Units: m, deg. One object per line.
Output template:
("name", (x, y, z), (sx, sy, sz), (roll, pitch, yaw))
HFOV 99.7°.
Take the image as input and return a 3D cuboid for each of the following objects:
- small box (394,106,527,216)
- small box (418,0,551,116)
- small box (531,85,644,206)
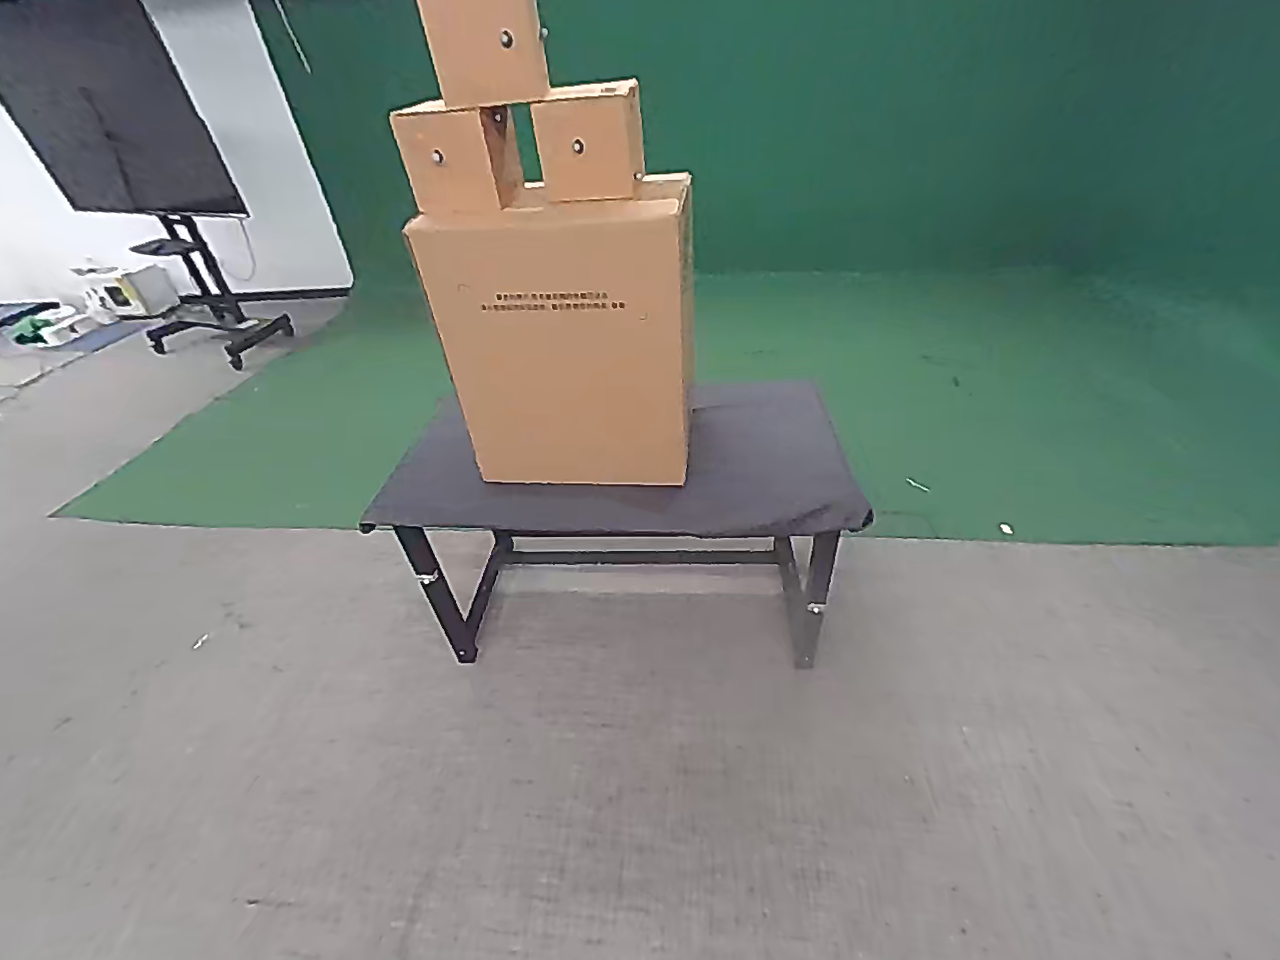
("small box", (-0.347, -0.640, 1.082), (0.179, 0.176, 0.168), (2, 43, 9))
("small box", (-0.263, -0.765, 0.965), (0.179, 0.176, 0.168), (-6, 40, 2))
("small box", (-0.091, -0.653, 1.060), (0.179, 0.176, 0.168), (1, 43, 10))
